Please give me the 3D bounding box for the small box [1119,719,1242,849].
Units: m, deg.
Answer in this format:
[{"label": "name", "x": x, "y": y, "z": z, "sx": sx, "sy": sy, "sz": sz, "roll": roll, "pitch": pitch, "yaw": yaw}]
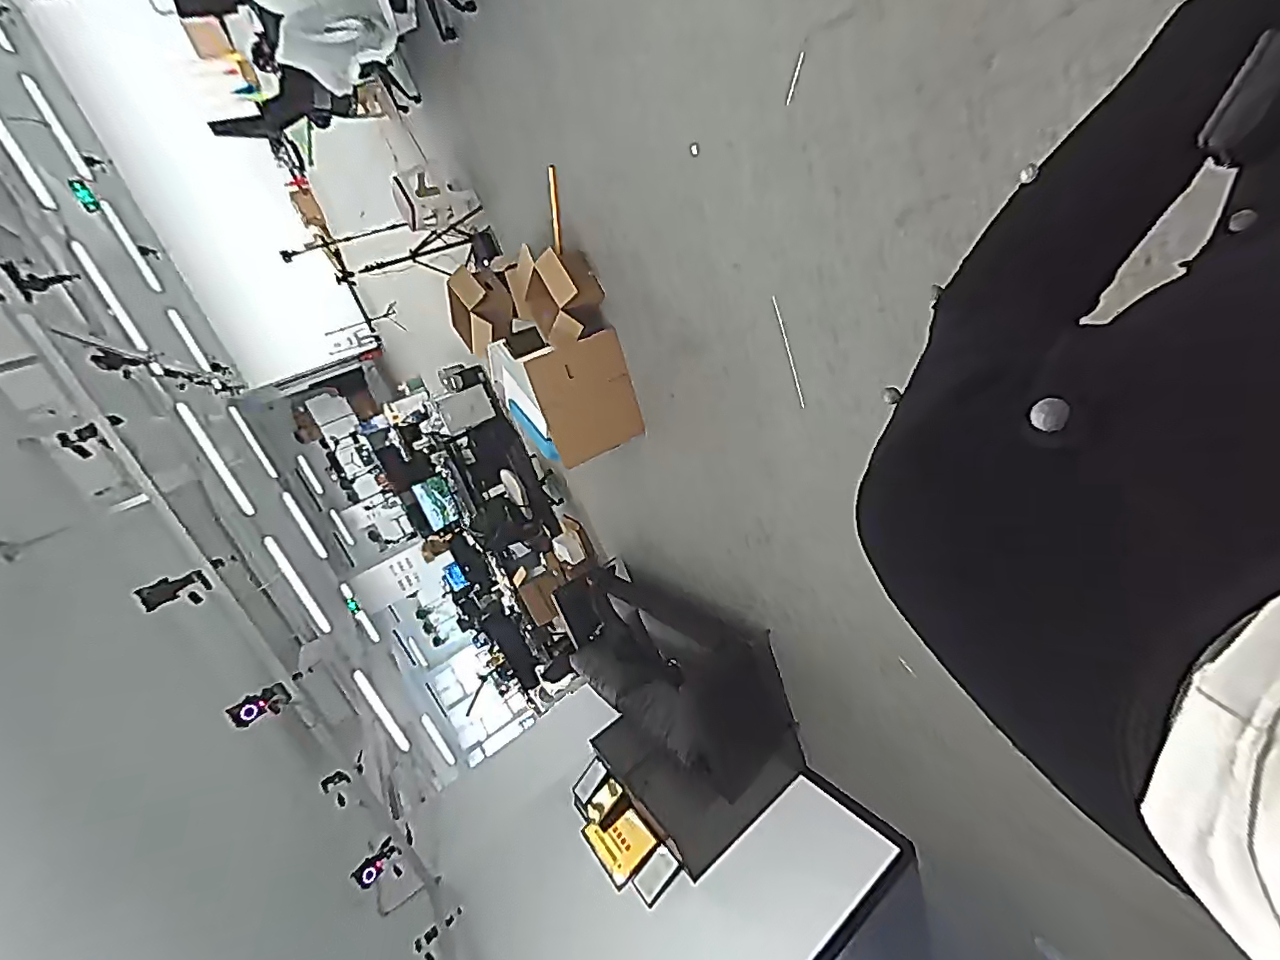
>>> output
[{"label": "small box", "x": 1.305, "y": 0.723, "z": 1.308, "sx": 0.168, "sy": 0.176, "sz": 0.179, "roll": 21, "pitch": 133, "yaw": 54}]
